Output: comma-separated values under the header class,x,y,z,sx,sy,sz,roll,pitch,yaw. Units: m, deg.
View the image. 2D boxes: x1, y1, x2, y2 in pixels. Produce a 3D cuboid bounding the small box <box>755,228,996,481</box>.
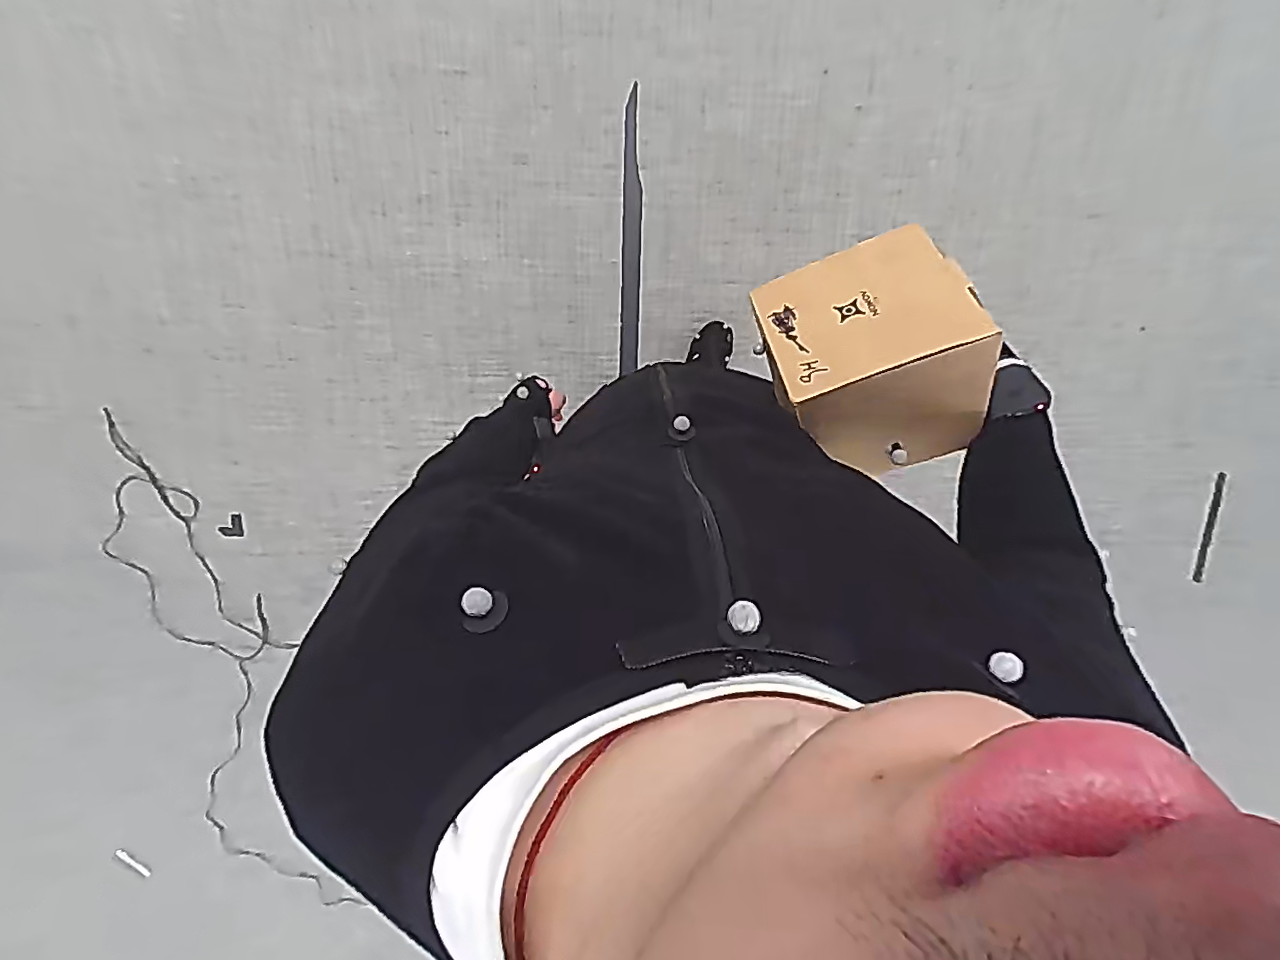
class,x,y,z,sx,sy,sz,roll,pitch,yaw
small box,0.241,-0.125,0.584,0.179,0.168,0.176,-18,143,13
